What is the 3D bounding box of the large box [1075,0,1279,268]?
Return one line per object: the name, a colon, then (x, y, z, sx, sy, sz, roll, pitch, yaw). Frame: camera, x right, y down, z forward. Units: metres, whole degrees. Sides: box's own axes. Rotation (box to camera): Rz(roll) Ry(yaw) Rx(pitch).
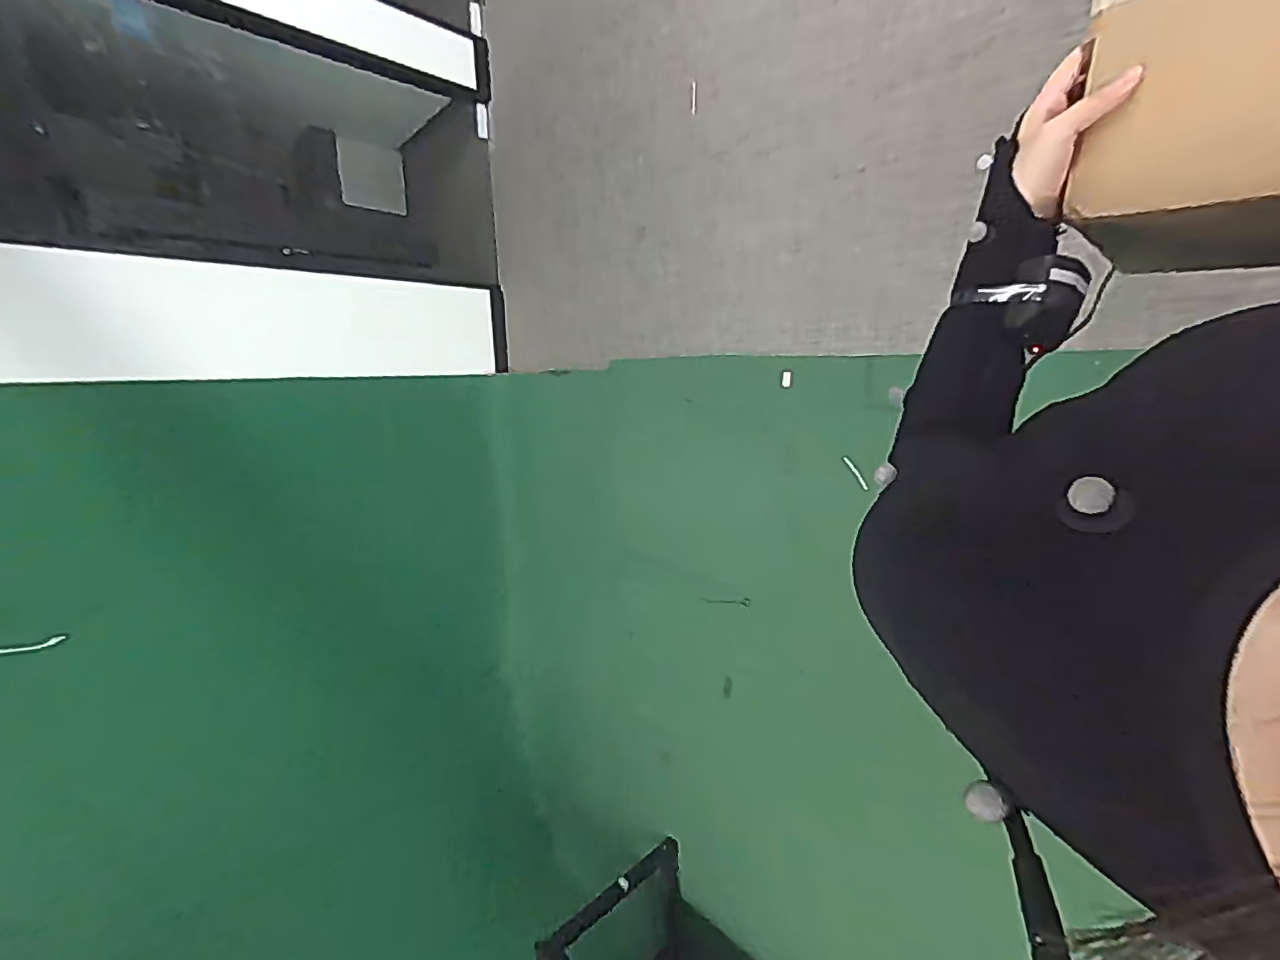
large box: (0.593, -0.346, 0.363, 0.408, 0.320, 0.320, 15, 108, 45)
